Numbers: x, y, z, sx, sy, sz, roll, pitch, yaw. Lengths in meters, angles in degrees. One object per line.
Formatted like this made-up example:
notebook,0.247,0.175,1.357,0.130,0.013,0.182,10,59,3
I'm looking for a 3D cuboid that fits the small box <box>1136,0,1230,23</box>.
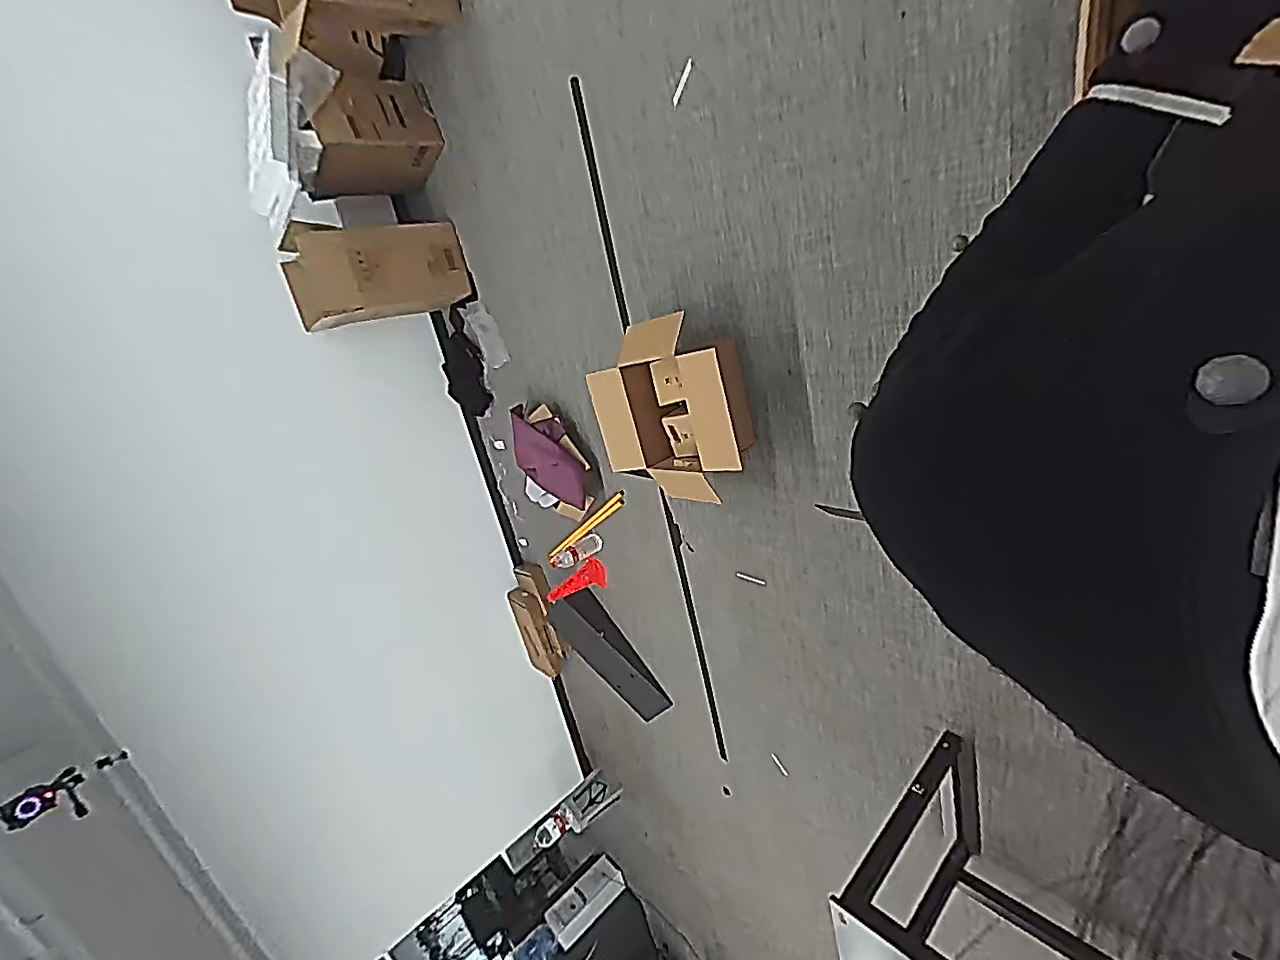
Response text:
small box,0.865,-0.806,0.788,0.179,0.176,0.168,11,123,47
